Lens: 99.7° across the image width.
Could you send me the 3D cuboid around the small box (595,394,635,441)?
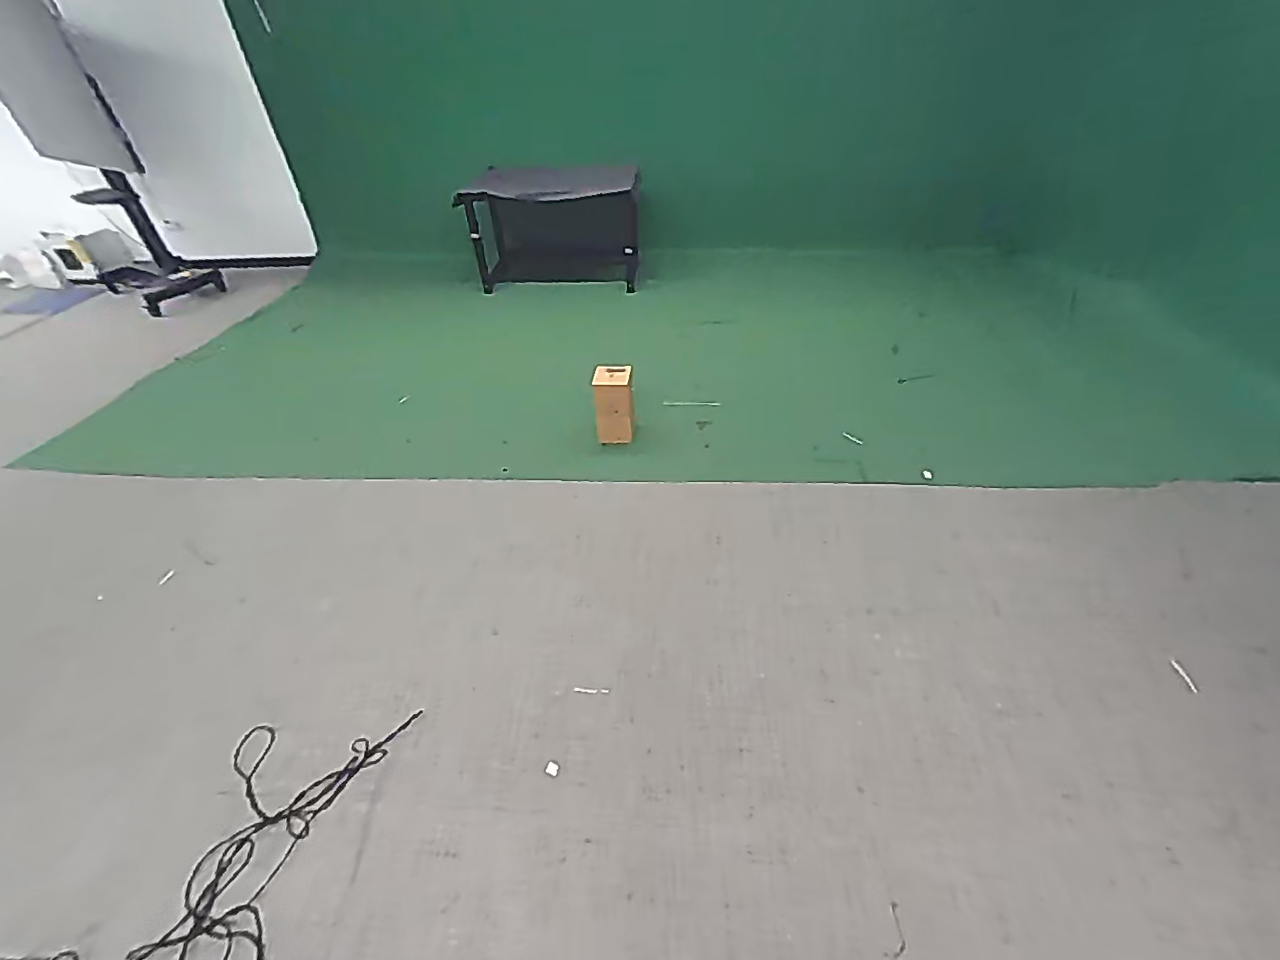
[{"bbox_3d":[-0.117,-0.303,2.634,0.168,0.176,0.179,1,39,6],"label":"small box"}]
